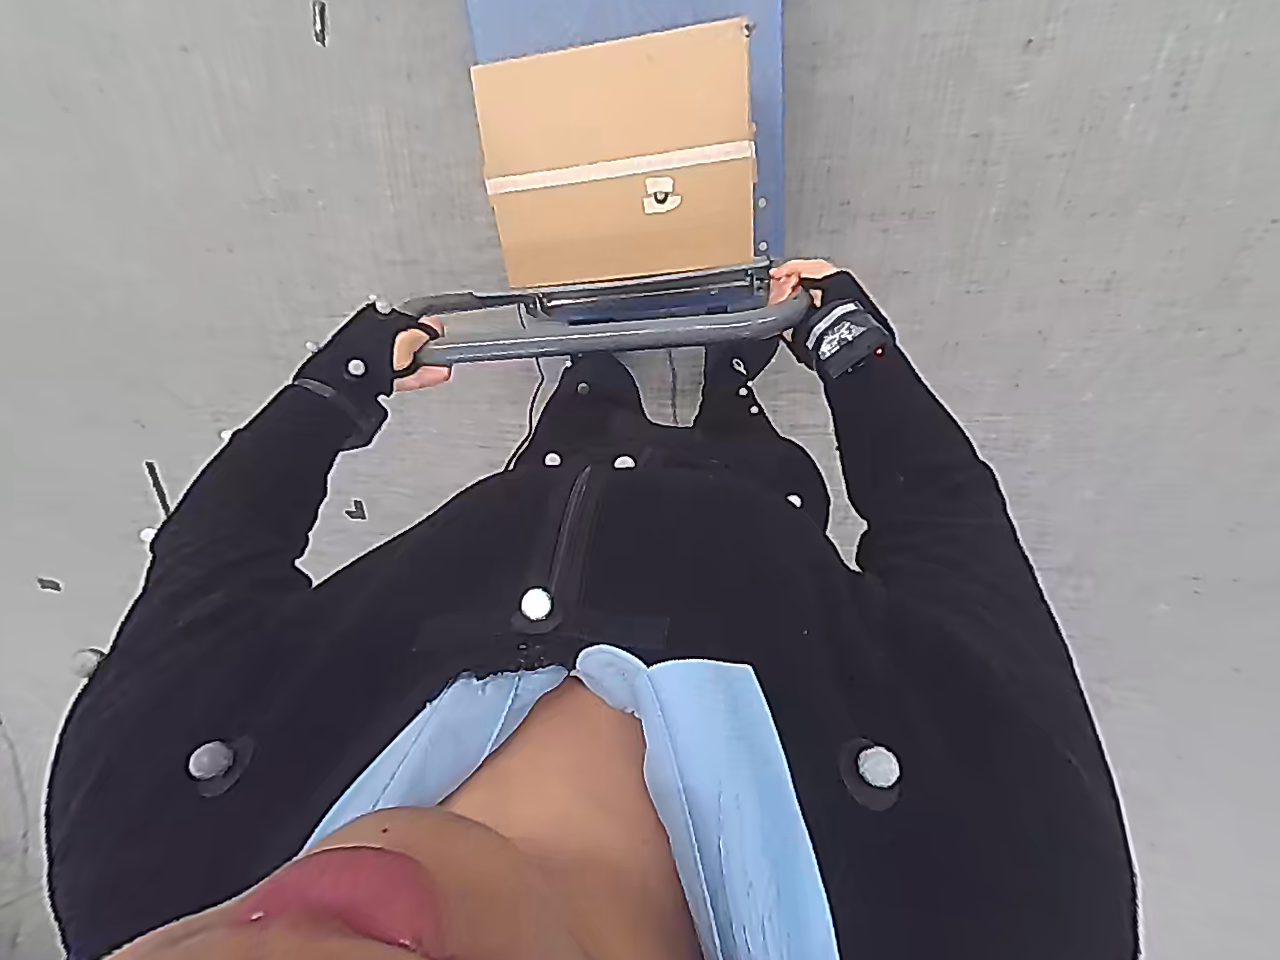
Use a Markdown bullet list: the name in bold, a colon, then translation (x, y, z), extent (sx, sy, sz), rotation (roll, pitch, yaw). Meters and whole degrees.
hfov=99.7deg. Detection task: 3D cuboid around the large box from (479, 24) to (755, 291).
- **large box**: translation (-0.013, -0.530, 0.963), extent (0.408, 0.320, 0.320), rotation (-3, 113, 9)
